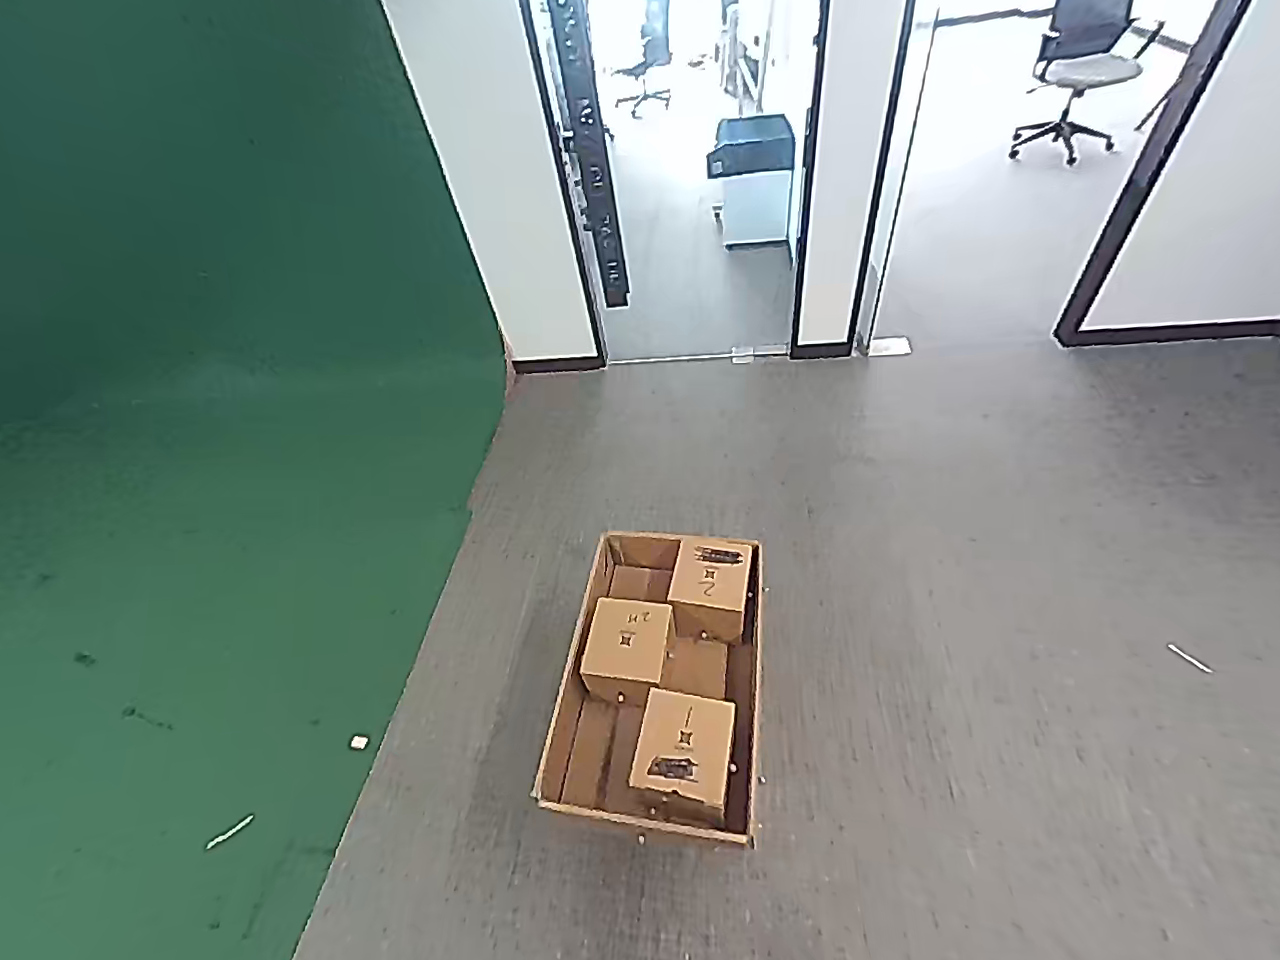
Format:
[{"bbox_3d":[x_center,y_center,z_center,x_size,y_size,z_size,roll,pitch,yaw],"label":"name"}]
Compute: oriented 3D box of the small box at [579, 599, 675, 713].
[{"bbox_3d":[-0.019,0.384,1.173,0.168,0.176,0.179,5,49,11],"label":"small box"}]
